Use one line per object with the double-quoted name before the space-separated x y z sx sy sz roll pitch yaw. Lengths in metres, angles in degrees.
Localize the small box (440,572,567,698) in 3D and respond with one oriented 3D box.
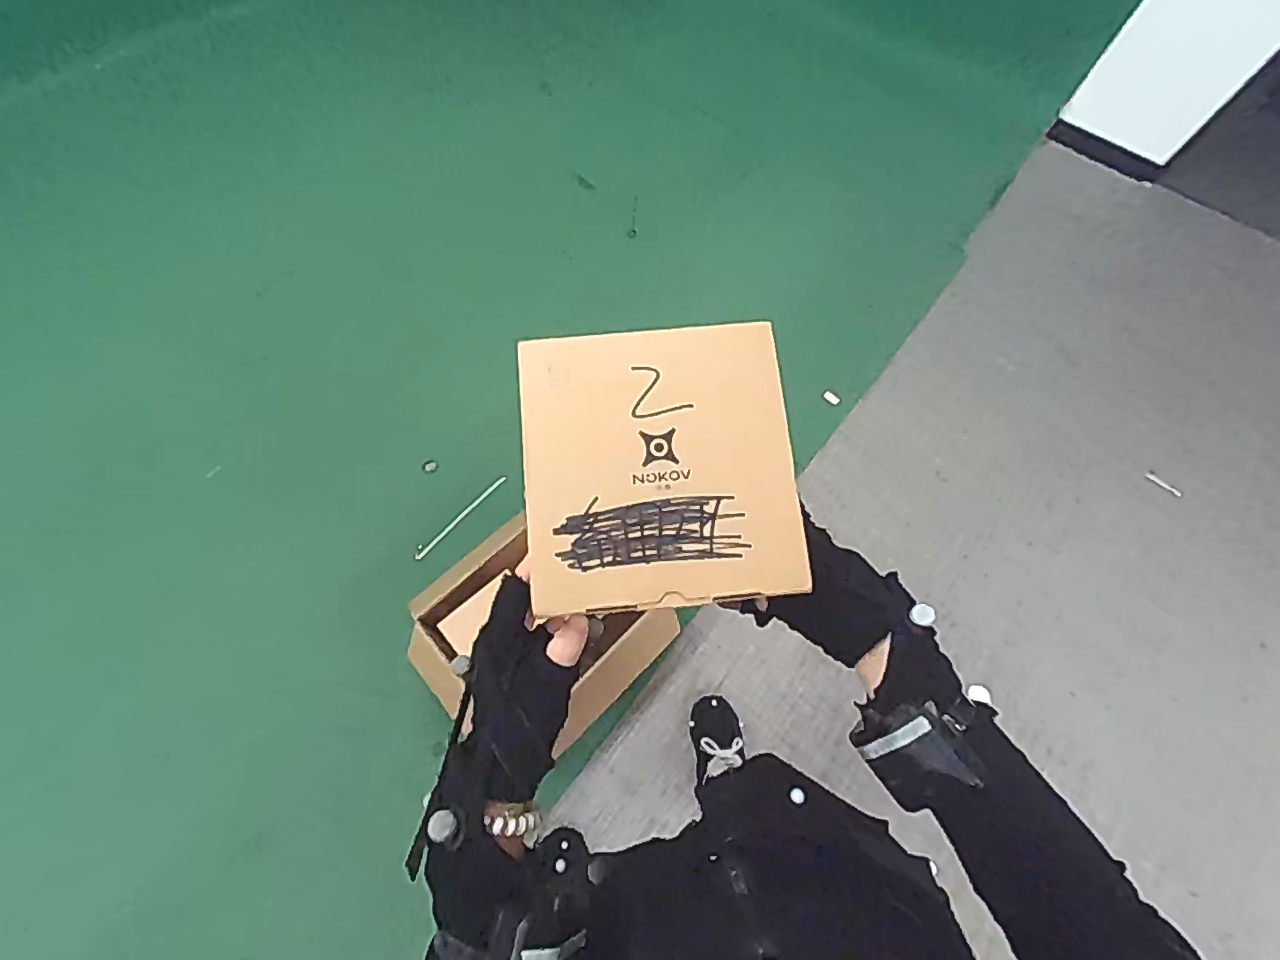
"small box" -0.266 0.318 1.087 0.168 0.176 0.179 -38 73 -17
